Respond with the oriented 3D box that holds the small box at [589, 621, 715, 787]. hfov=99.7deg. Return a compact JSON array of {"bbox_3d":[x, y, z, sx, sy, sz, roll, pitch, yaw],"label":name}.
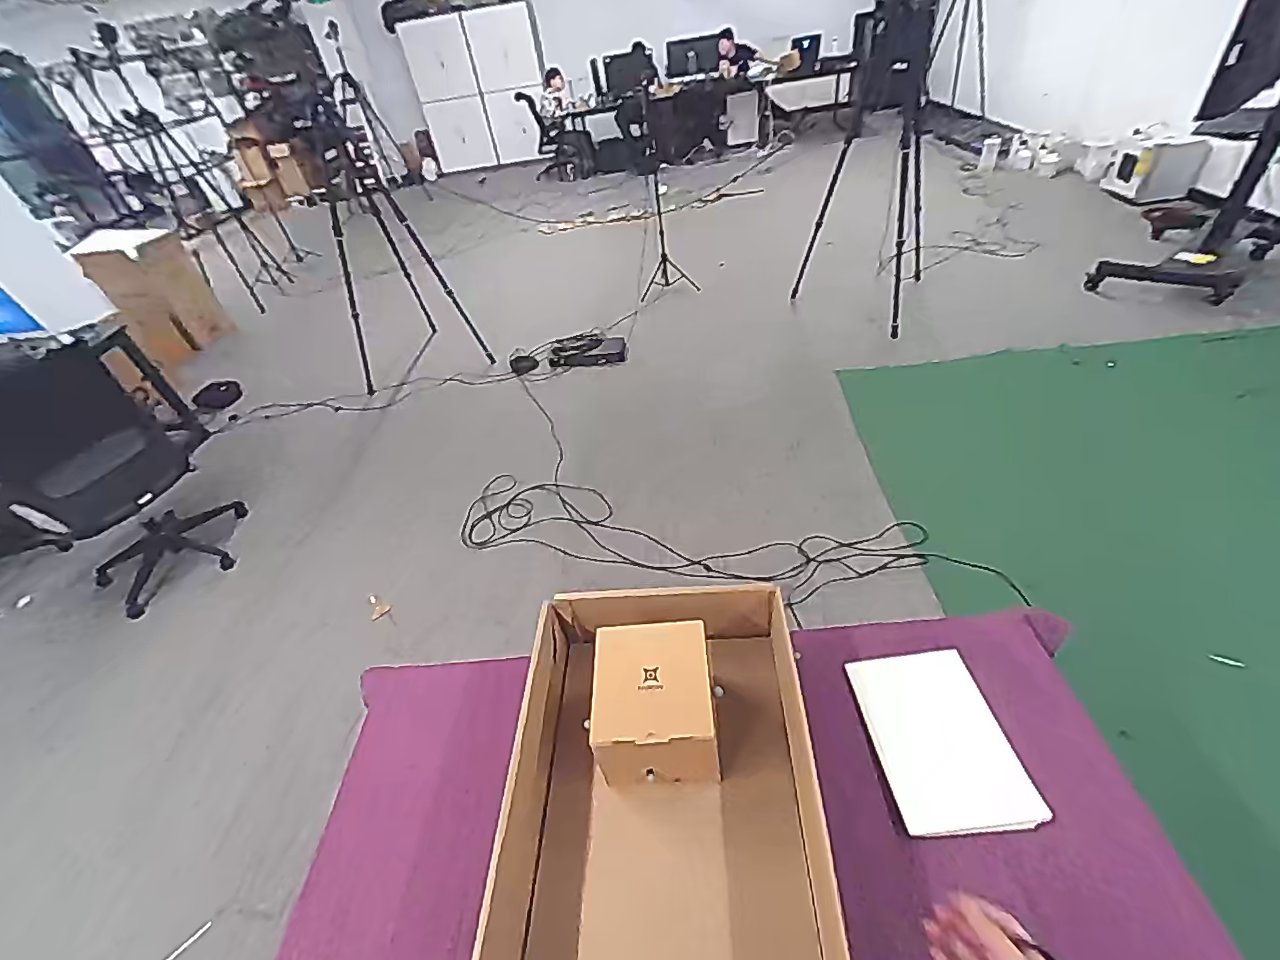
[{"bbox_3d":[0.022,0.337,0.814,0.168,0.176,0.179,-6,43,4],"label":"small box"}]
